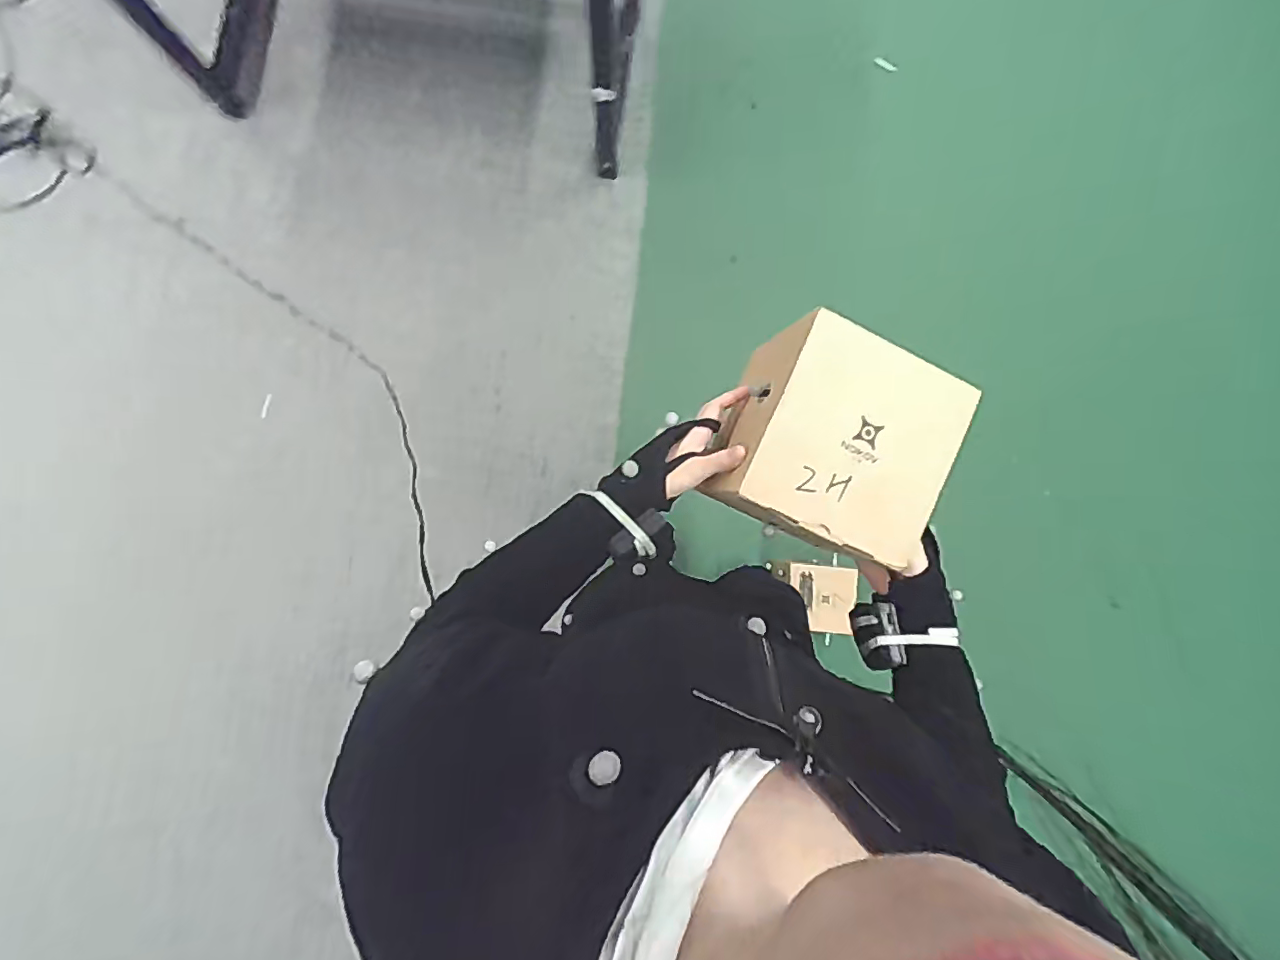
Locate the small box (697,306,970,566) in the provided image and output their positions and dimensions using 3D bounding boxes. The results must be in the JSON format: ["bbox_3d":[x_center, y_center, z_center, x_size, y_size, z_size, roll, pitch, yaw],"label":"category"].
[{"bbox_3d":[0.173,-0.036,0.539,0.168,0.176,0.179,25,87,-7],"label":"small box"}]
